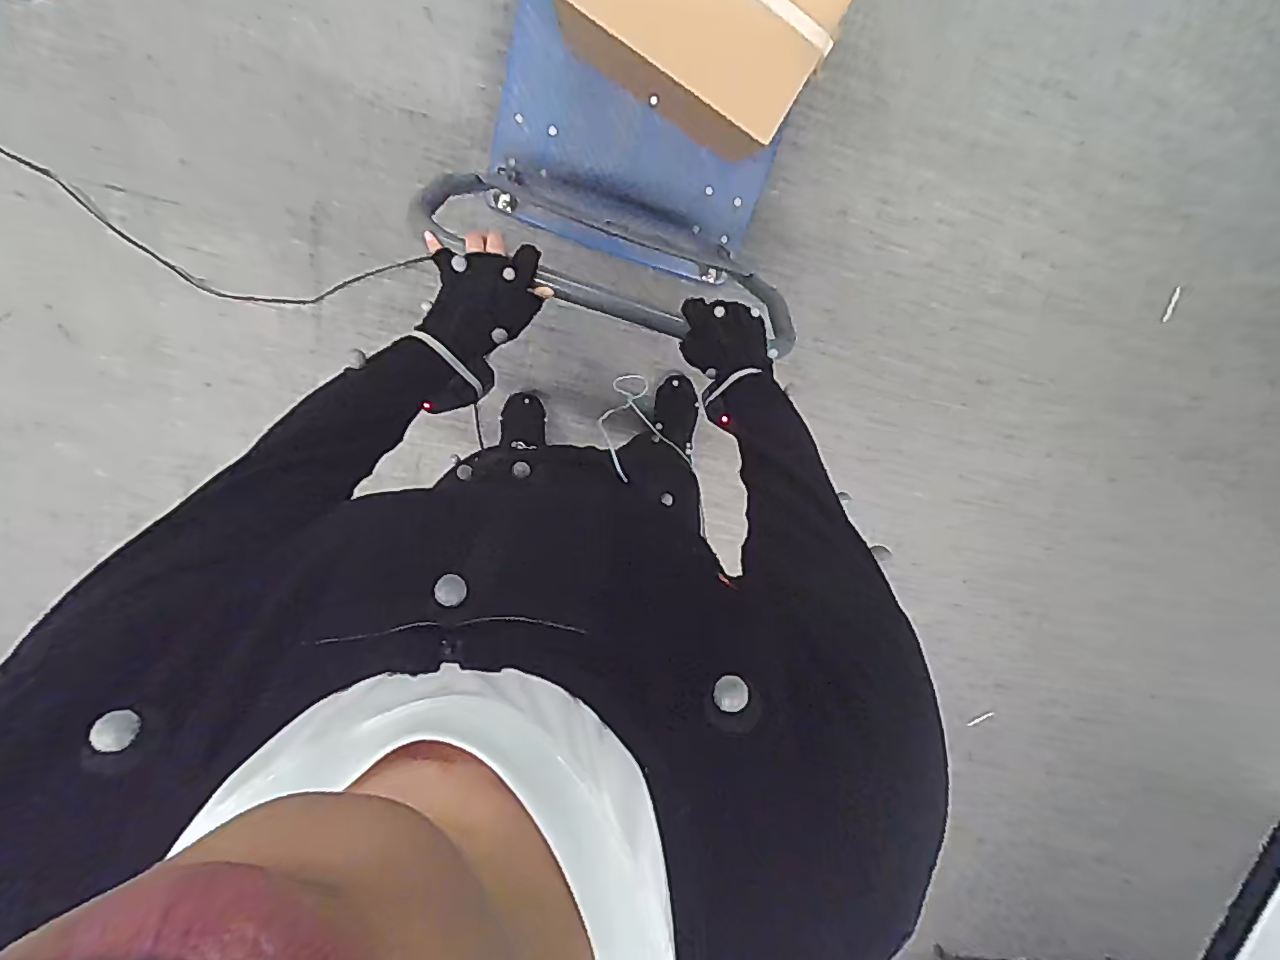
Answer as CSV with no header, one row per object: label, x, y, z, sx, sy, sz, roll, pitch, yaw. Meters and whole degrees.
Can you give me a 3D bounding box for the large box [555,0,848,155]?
large box,0.109,-0.828,0.927,0.408,0.320,0.320,27,112,-15
